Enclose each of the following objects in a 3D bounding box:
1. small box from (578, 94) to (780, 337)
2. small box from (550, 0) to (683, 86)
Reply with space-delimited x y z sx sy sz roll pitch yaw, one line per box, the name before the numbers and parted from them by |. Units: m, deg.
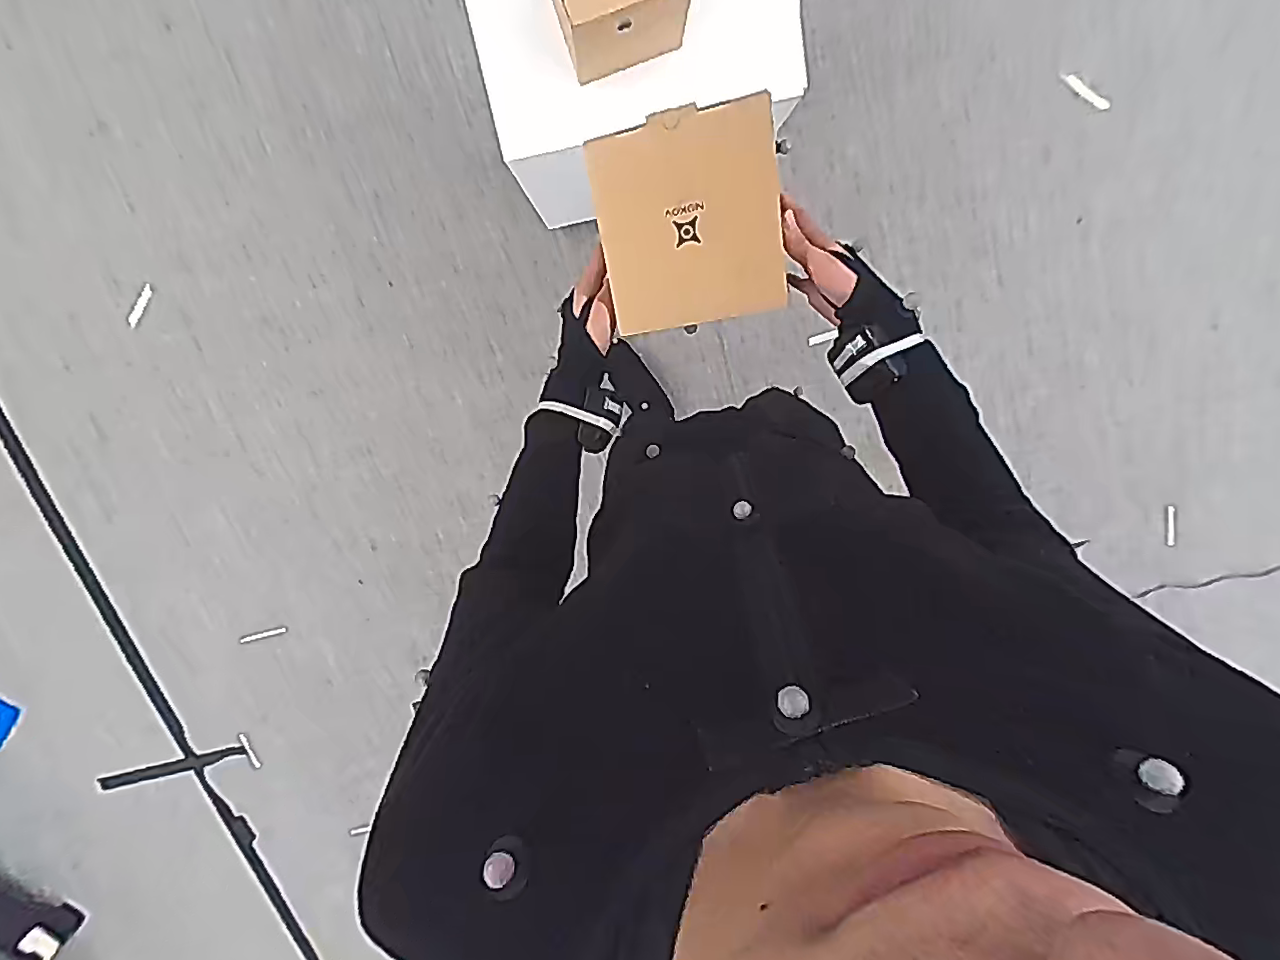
small box | 0.055 -0.260 0.562 0.168 0.176 0.179 -5 110 16
small box | -0.042 -0.712 0.775 0.179 0.176 0.168 -19 104 2
